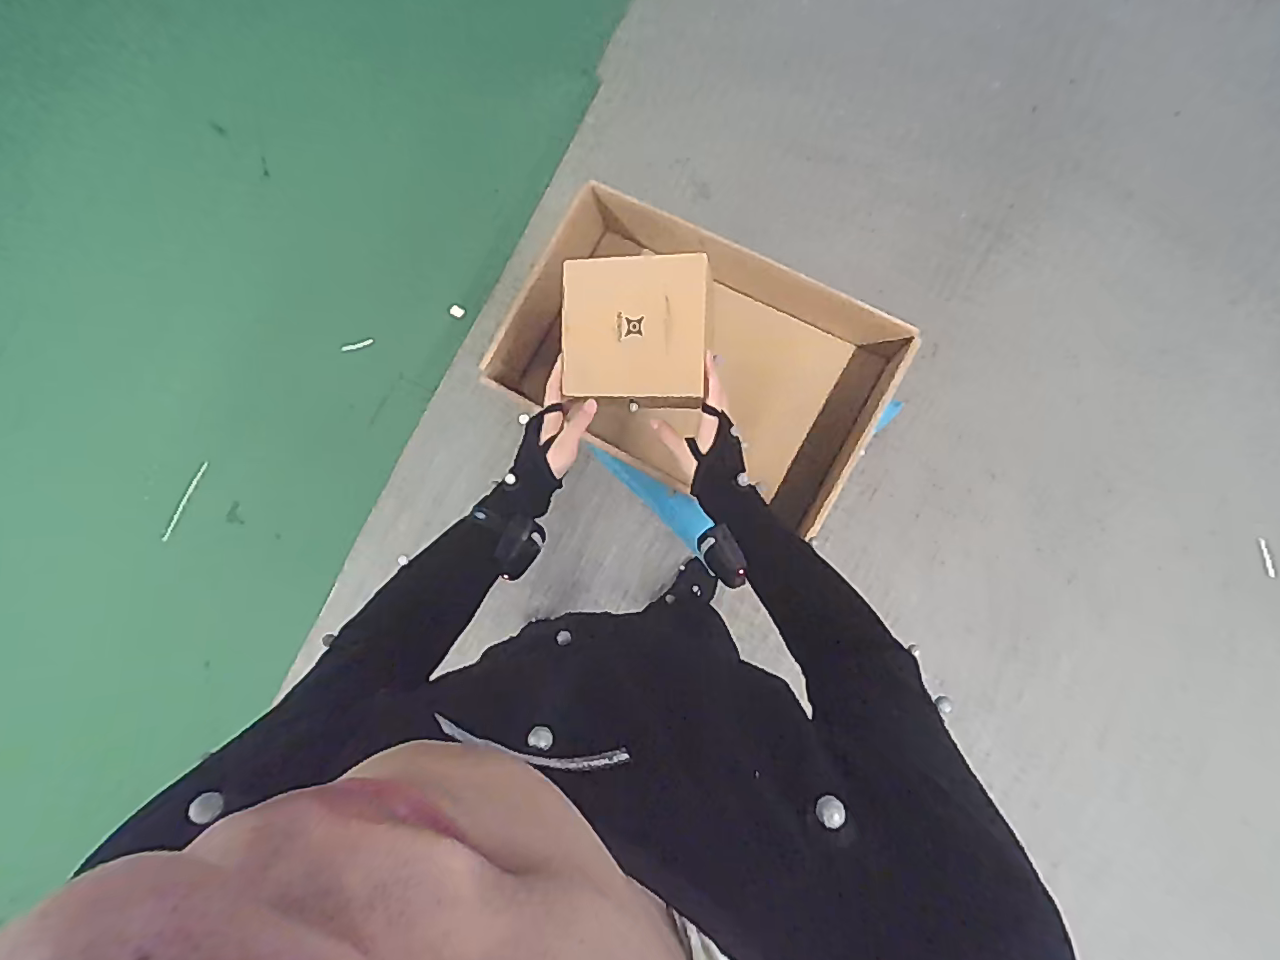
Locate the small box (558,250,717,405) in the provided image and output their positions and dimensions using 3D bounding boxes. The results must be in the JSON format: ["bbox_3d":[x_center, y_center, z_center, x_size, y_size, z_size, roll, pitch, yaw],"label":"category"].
[{"bbox_3d":[0.005,-0.188,0.717,0.179,0.176,0.168,2,93,12],"label":"small box"}]
